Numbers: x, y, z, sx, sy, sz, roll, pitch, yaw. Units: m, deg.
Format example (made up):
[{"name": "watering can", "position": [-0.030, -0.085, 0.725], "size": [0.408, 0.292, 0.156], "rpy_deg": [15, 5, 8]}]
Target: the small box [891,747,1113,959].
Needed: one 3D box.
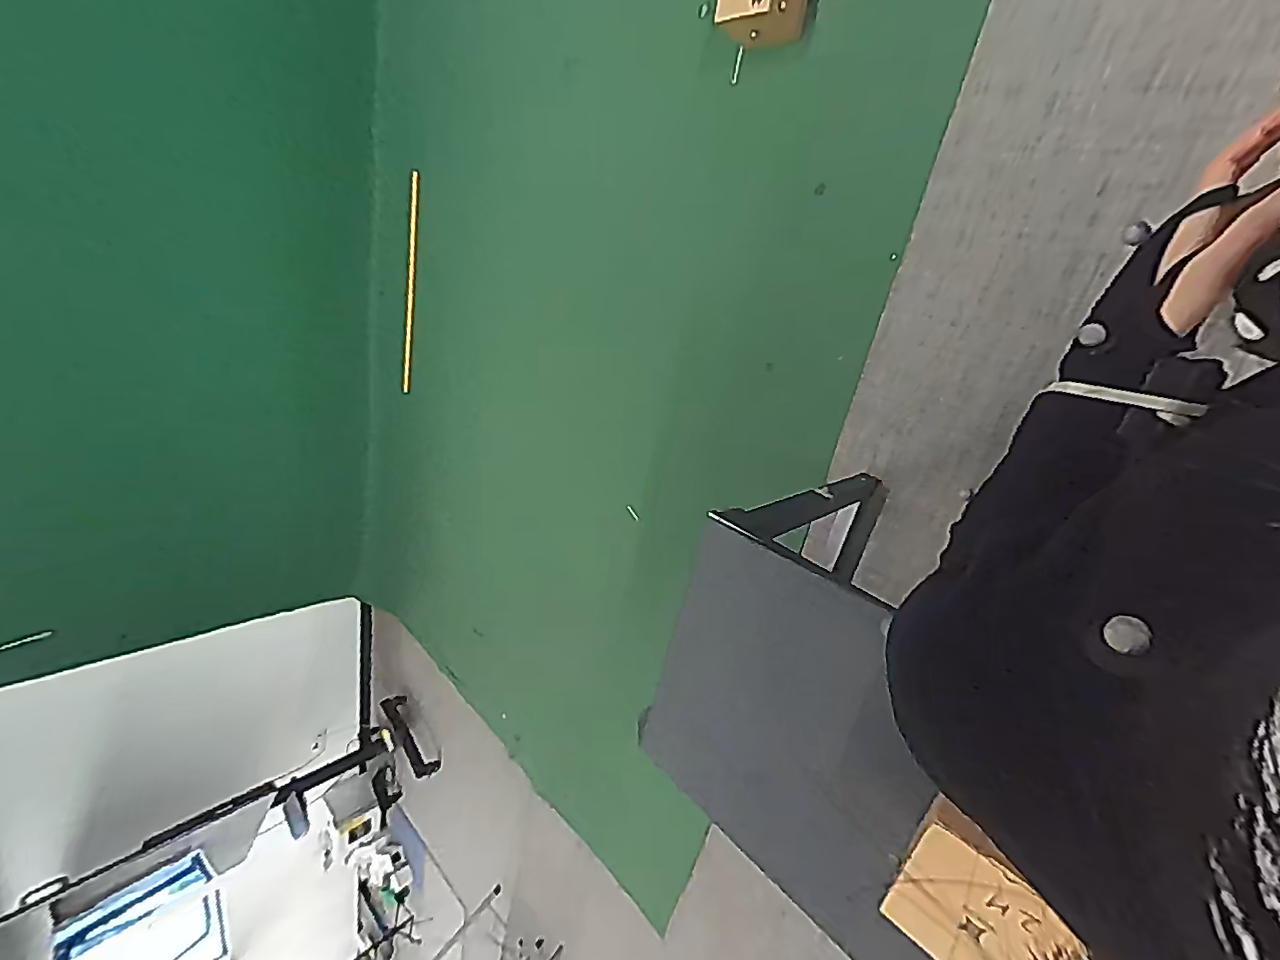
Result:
[{"name": "small box", "position": [0.445, 0.479, 0.664], "size": [0.168, 0.176, 0.179], "rpy_deg": [28, 117, 35]}]
